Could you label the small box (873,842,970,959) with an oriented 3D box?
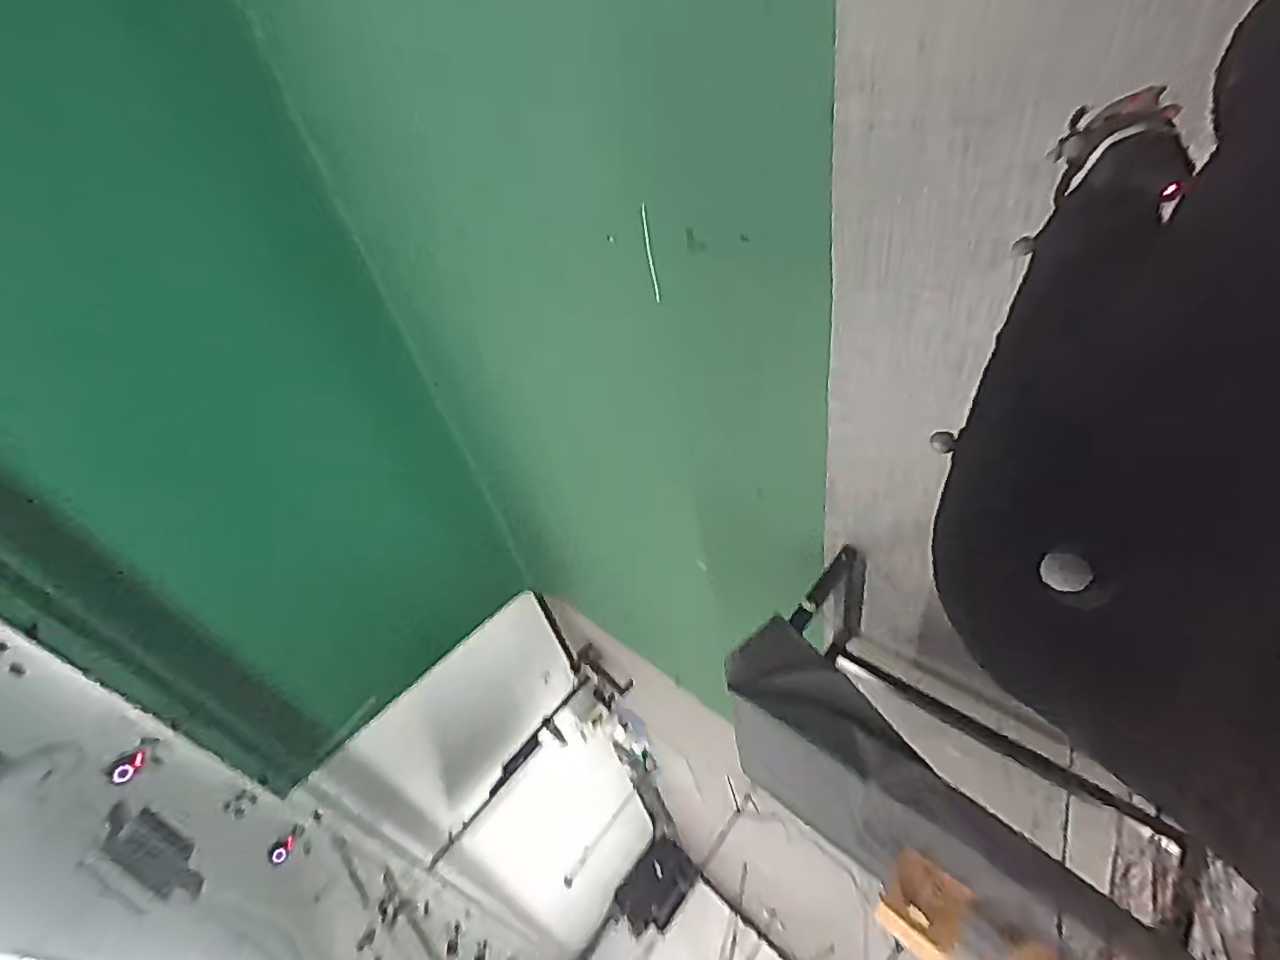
[{"bbox_3d":[0.732,1.098,1.410,0.168,0.176,0.179,25,142,38],"label":"small box"}]
